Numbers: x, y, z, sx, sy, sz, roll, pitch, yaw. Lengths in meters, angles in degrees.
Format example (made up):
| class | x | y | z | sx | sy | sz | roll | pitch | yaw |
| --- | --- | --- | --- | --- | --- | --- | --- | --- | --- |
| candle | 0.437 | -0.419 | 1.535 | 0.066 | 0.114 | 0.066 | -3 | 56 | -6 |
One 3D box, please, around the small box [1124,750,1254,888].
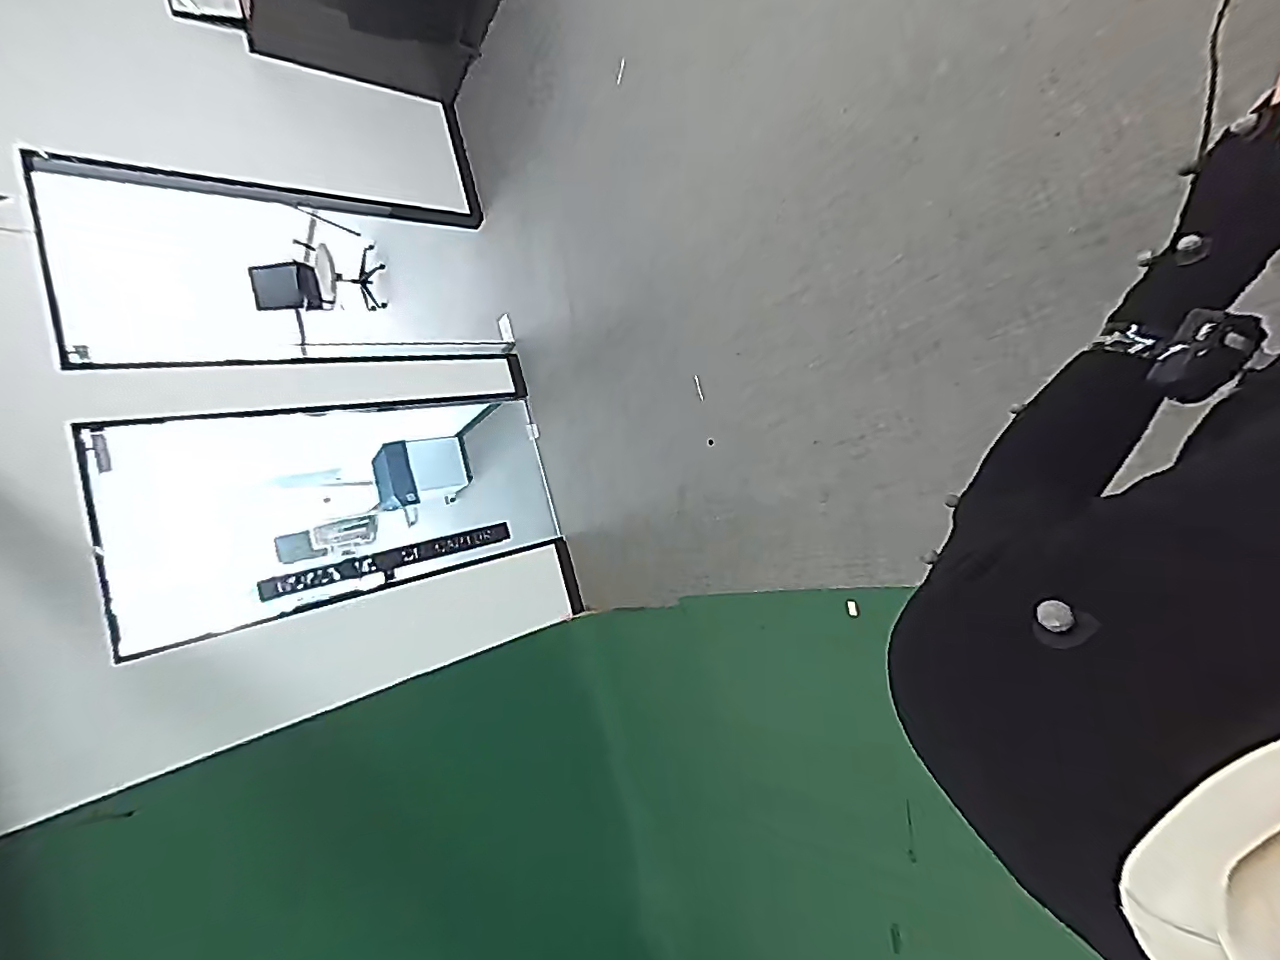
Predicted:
| class | x | y | z | sx | sy | sz | roll | pitch | yaw |
| --- | --- | --- | --- | --- | --- | --- | --- | --- | --- |
| small box | 1.218 | 0.738 | 1.199 | 0.168 | 0.176 | 0.179 | -17 | 86 | 51 |
